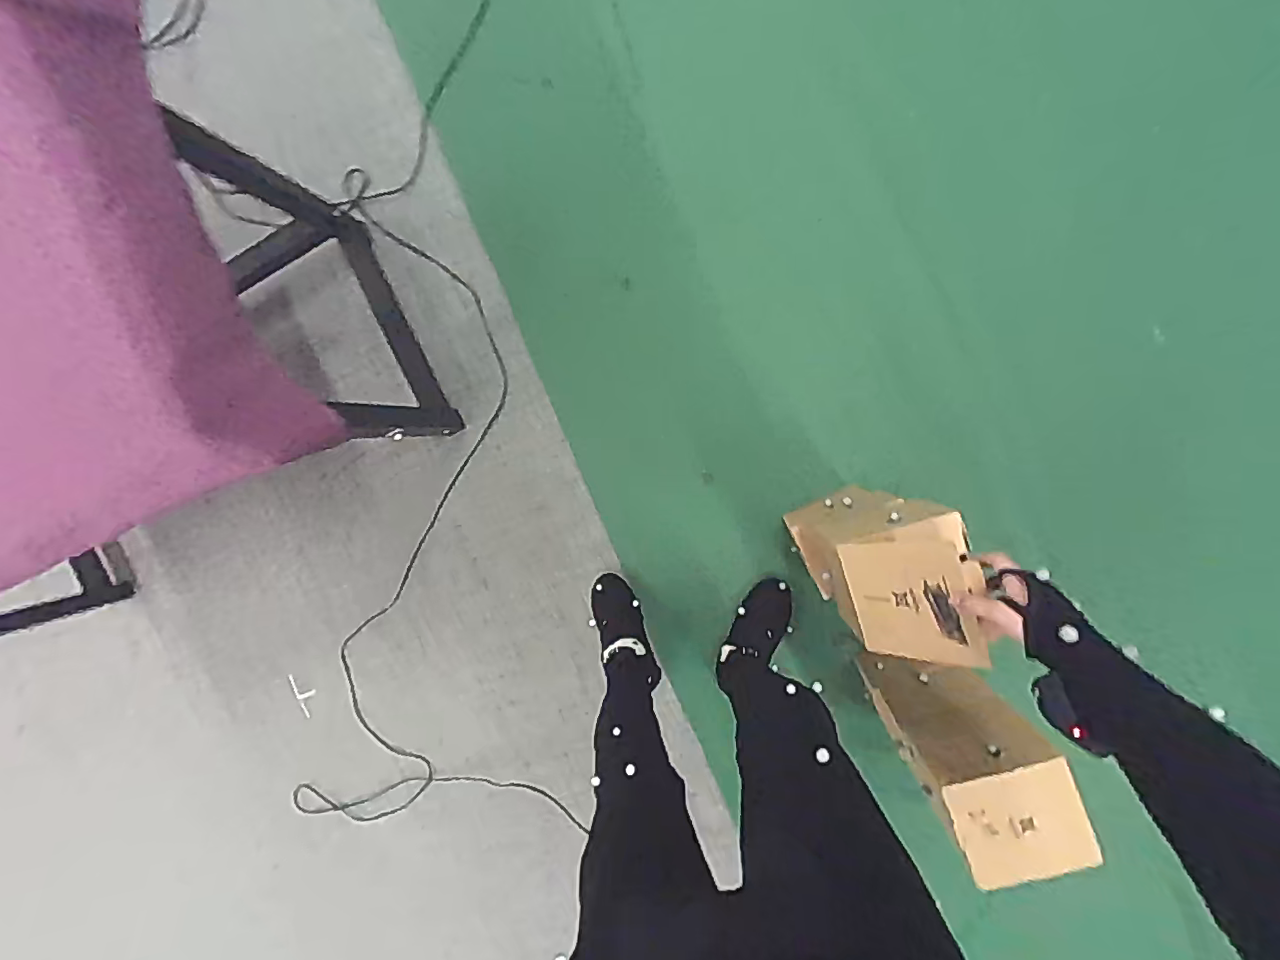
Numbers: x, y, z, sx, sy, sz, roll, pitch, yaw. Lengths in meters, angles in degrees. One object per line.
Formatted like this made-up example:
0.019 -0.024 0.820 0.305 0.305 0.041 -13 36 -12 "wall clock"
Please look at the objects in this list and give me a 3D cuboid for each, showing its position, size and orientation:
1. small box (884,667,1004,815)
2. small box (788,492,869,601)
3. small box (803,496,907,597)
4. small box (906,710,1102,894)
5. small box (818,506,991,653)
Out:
0.578 0.479 1.009 0.179 0.176 0.168 -22 92 11 "small box"
0.433 0.137 1.170 0.179 0.176 0.168 -25 90 9 "small box"
0.424 0.144 1.007 0.168 0.176 0.179 -25 90 8 "small box"
0.552 0.490 0.846 0.179 0.176 0.168 -20 91 11 "small box"
0.399 0.145 0.846 0.179 0.176 0.168 -16 91 9 "small box"
